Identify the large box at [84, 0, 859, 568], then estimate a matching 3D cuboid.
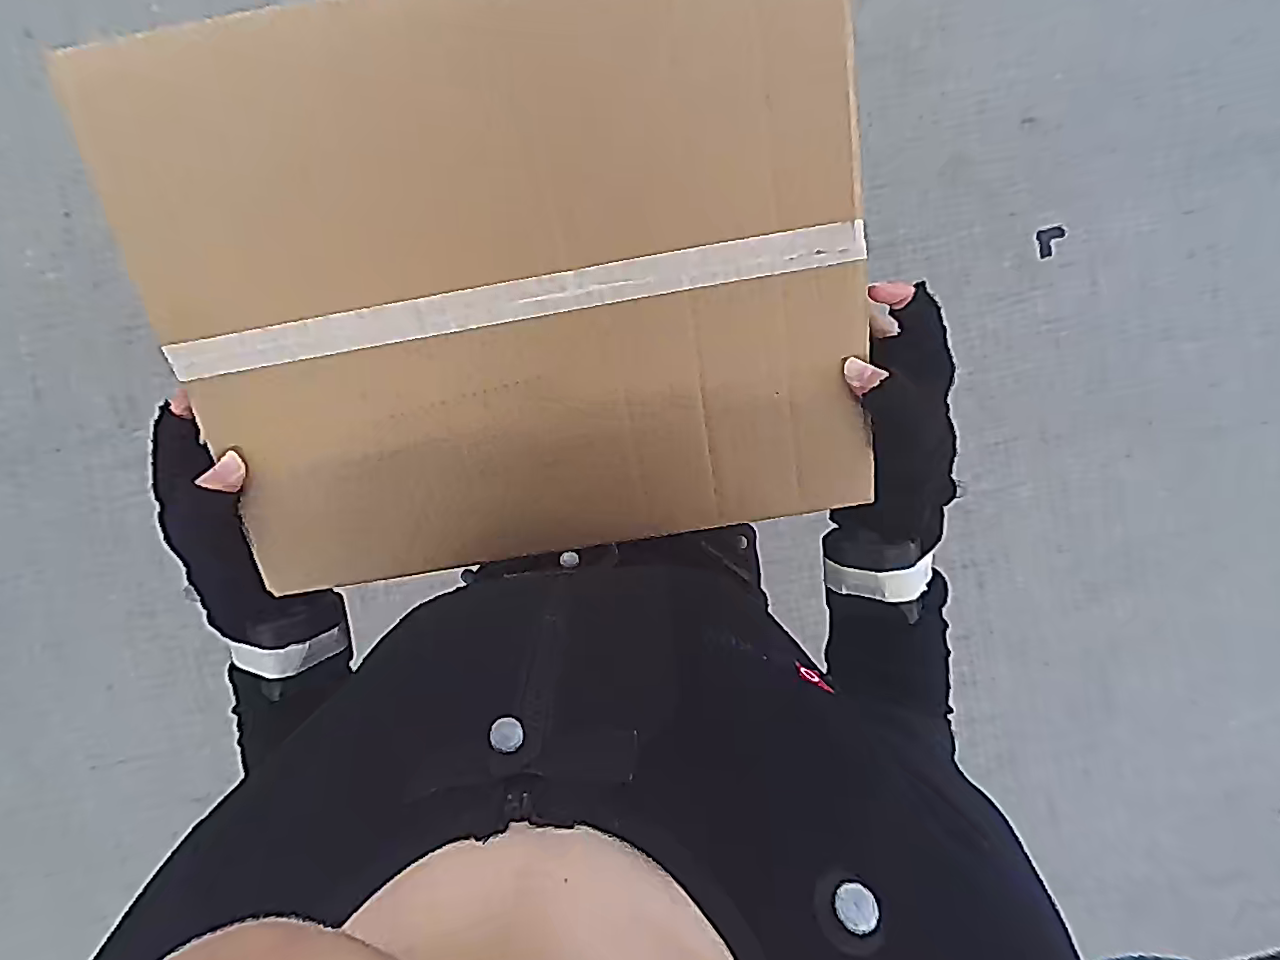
[{"bbox_3d":[-0.079,-0.158,0.461,0.408,0.320,0.320,-9,108,2],"label":"large box"}]
